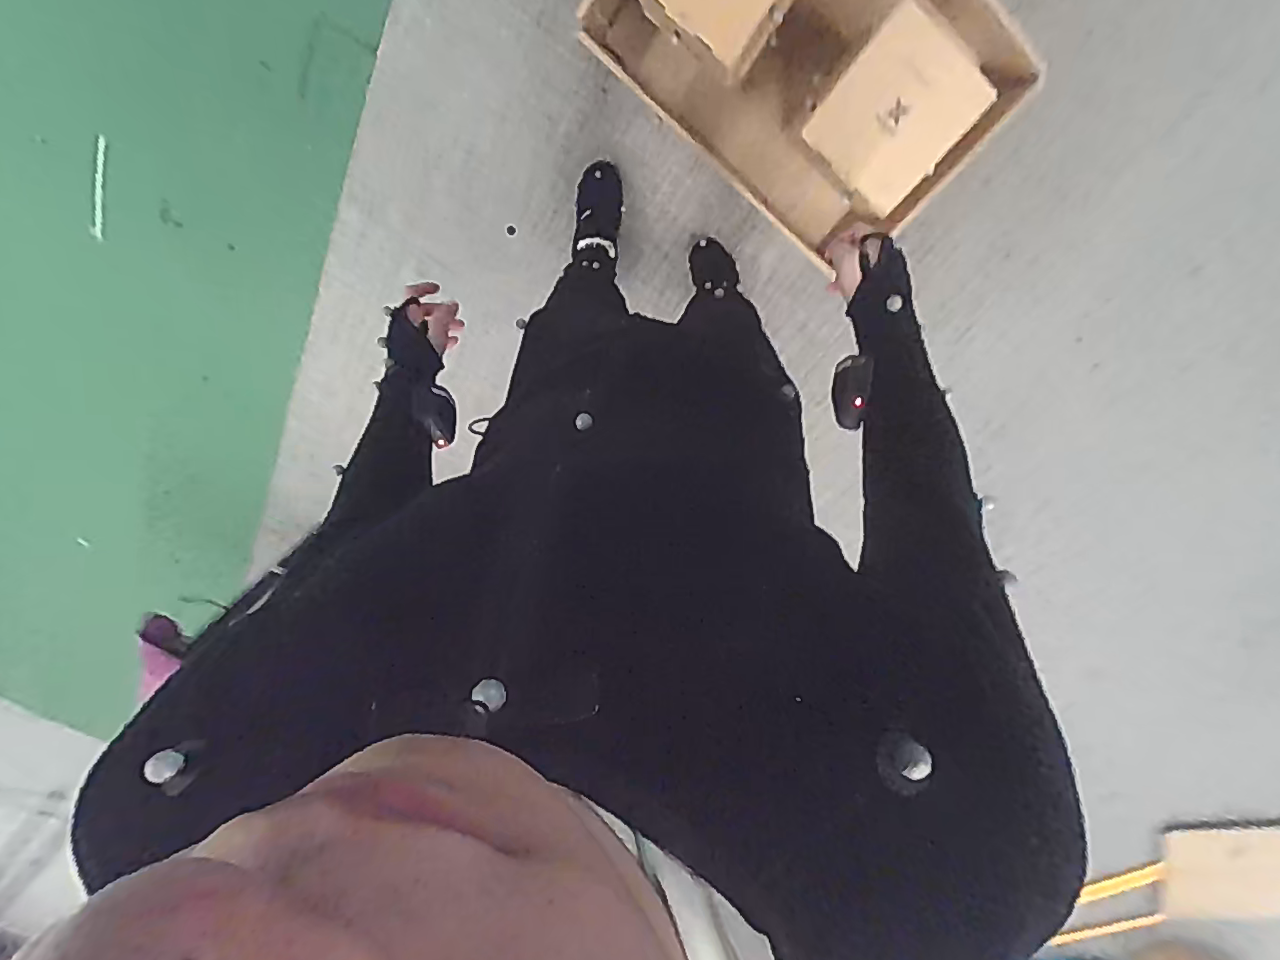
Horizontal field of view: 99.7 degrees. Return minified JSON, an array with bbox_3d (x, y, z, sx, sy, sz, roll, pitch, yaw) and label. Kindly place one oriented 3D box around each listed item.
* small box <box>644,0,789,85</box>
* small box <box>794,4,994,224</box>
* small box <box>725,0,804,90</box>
[{"bbox_3d":[0.110,-0.656,0.696,0.168,0.176,0.179,35,119,-11],"label":"small box"},{"bbox_3d":[0.333,-0.489,0.752,0.168,0.176,0.179,37,117,-13],"label":"small box"},{"bbox_3d":[0.142,-0.741,0.833,0.179,0.176,0.168,35,119,-12],"label":"small box"}]
